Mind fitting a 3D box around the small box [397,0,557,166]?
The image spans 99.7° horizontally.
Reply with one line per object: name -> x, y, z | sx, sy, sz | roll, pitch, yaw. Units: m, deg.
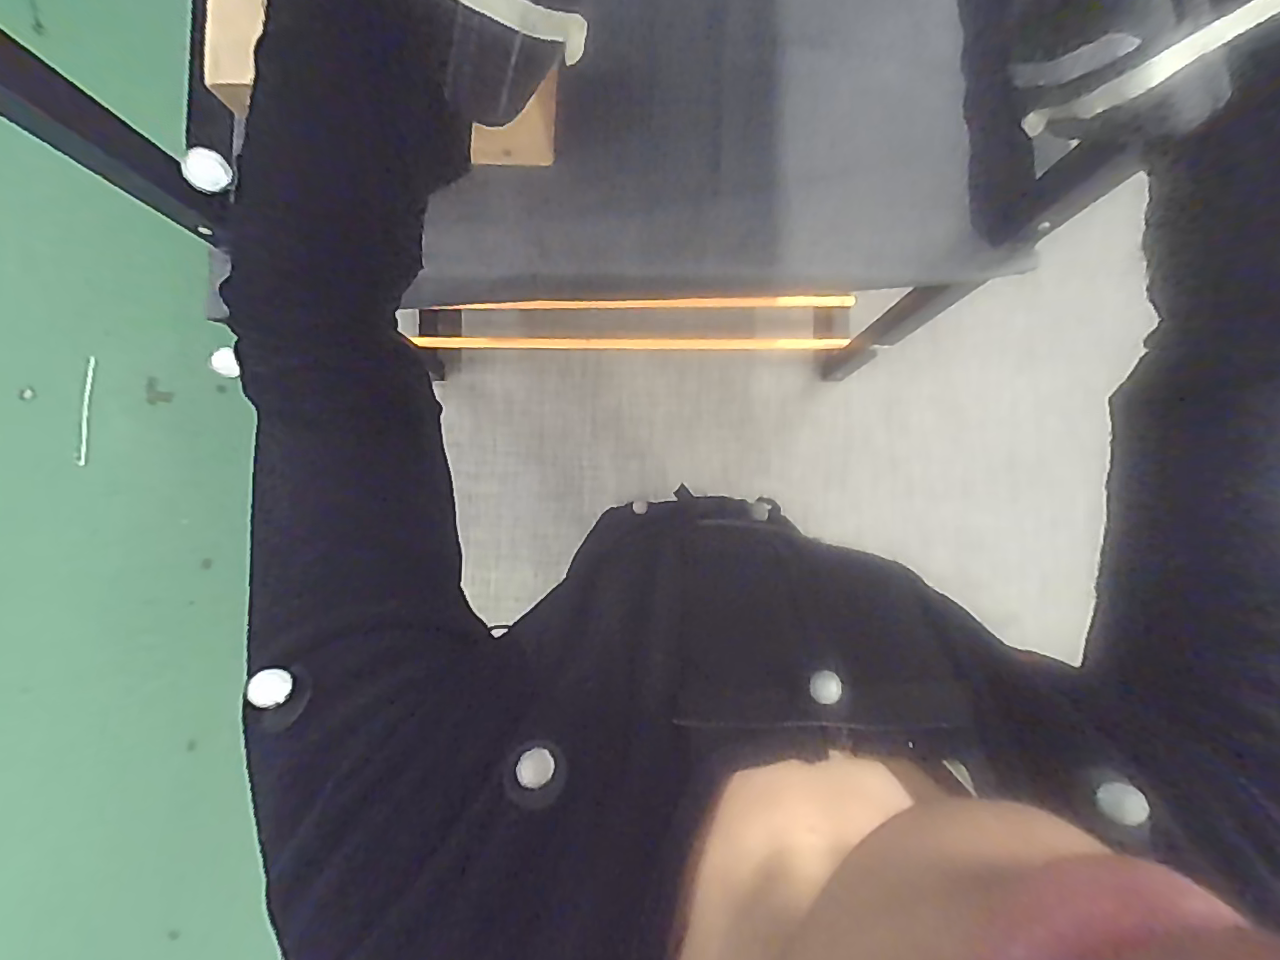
small box -> -0.209, -0.562, 0.739 | 0.168, 0.176, 0.179 | 2, 85, 1
